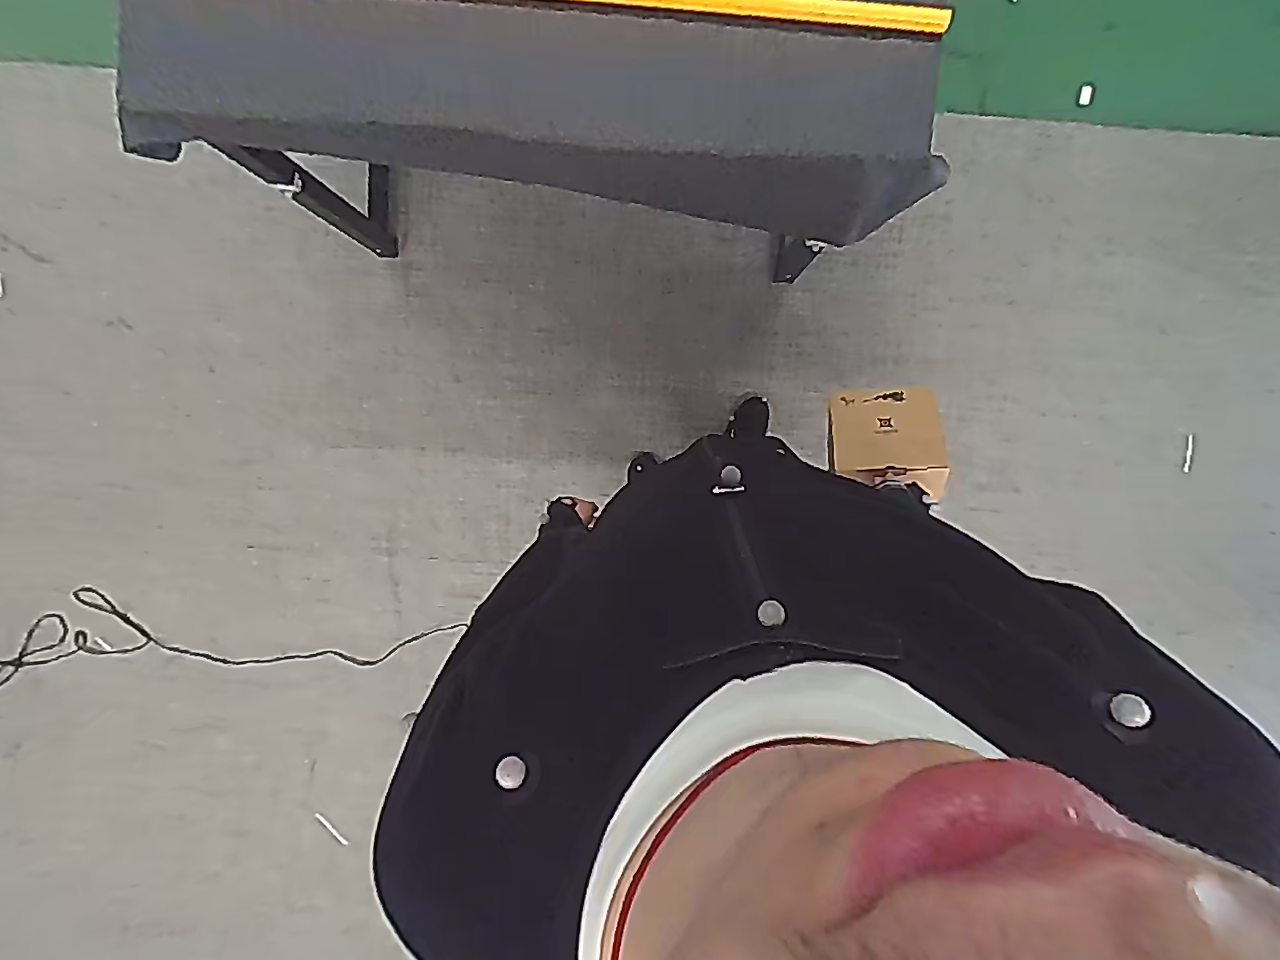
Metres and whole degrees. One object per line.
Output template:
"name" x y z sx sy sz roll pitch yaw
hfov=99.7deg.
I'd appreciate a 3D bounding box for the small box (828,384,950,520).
"small box" 0.422 -0.040 0.944 0.168 0.176 0.179 -4 55 16
